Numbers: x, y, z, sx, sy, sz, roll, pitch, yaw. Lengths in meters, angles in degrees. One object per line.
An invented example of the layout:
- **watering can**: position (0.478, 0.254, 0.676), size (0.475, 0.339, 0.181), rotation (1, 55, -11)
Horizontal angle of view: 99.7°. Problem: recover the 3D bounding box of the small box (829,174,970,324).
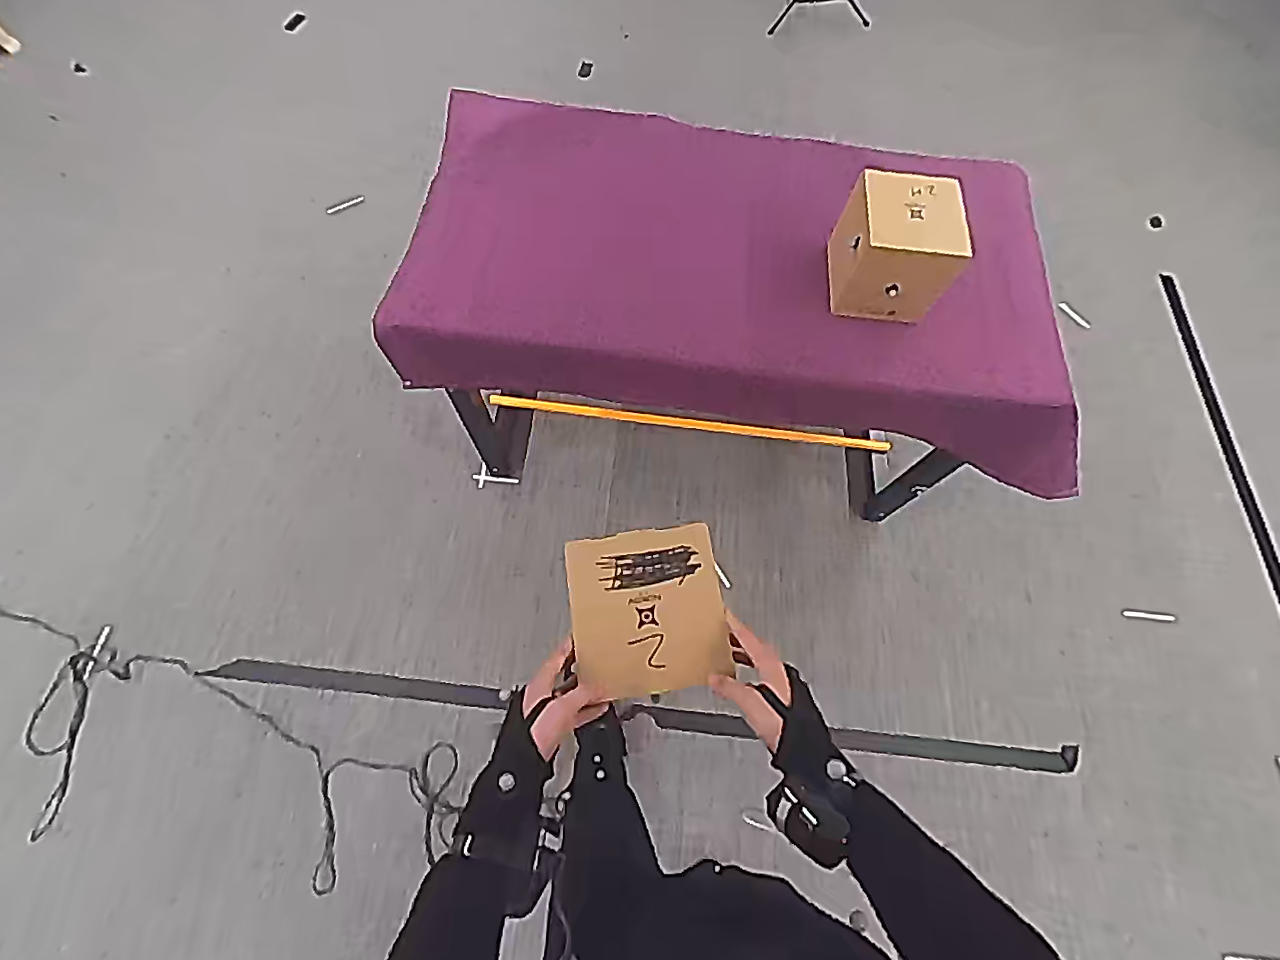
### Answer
- **small box**: position (0.447, -0.402, 0.961), size (0.168, 0.176, 0.179), rotation (6, 68, -1)
